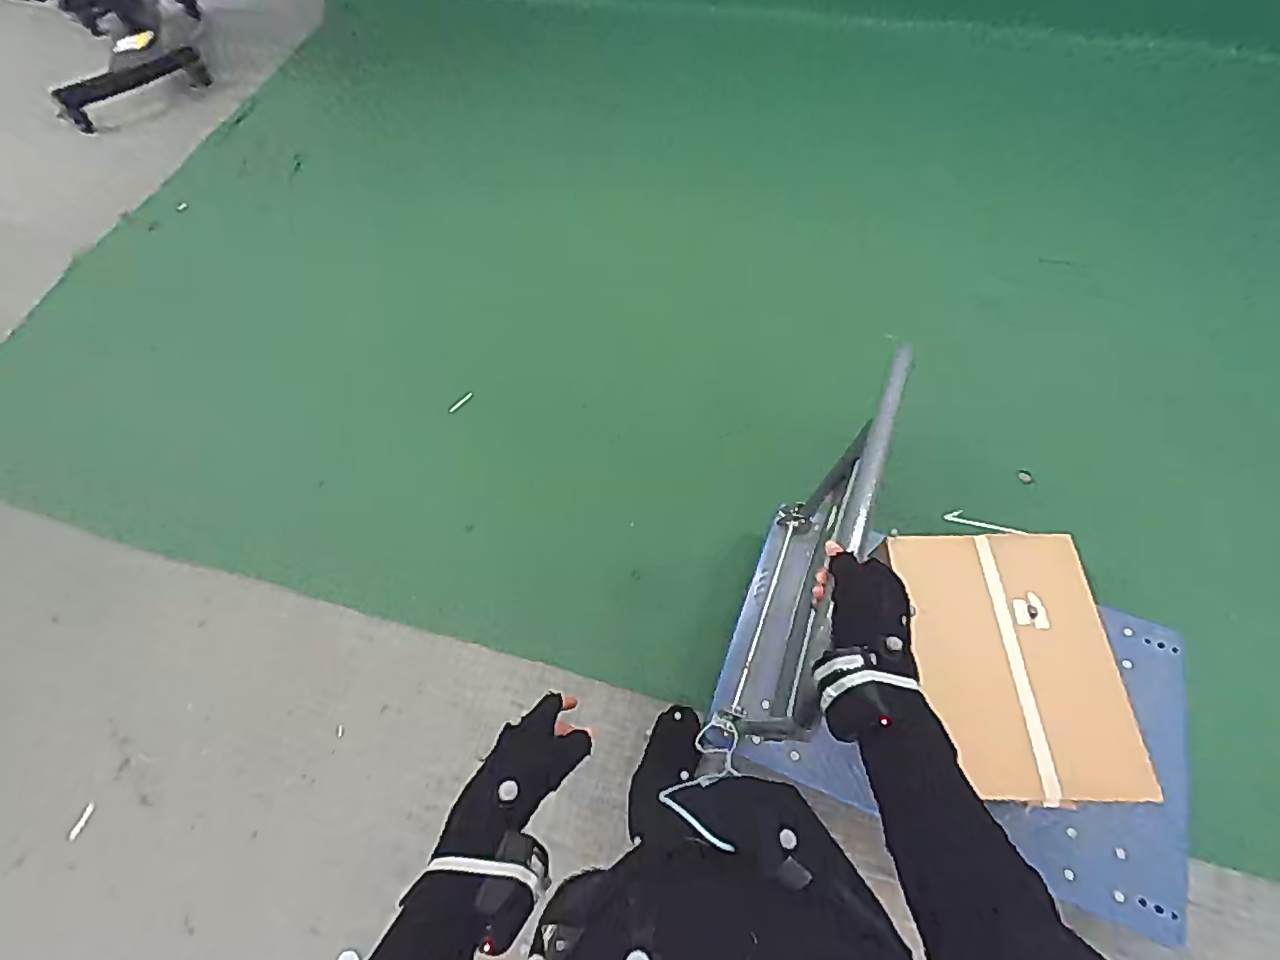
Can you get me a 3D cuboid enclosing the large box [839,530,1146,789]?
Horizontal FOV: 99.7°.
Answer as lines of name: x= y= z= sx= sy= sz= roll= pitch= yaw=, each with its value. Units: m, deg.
large box: x=0.587 y=0.339 z=1.004 sx=0.320 sy=0.320 sz=0.408 roll=-1 pitch=63 yaw=4
